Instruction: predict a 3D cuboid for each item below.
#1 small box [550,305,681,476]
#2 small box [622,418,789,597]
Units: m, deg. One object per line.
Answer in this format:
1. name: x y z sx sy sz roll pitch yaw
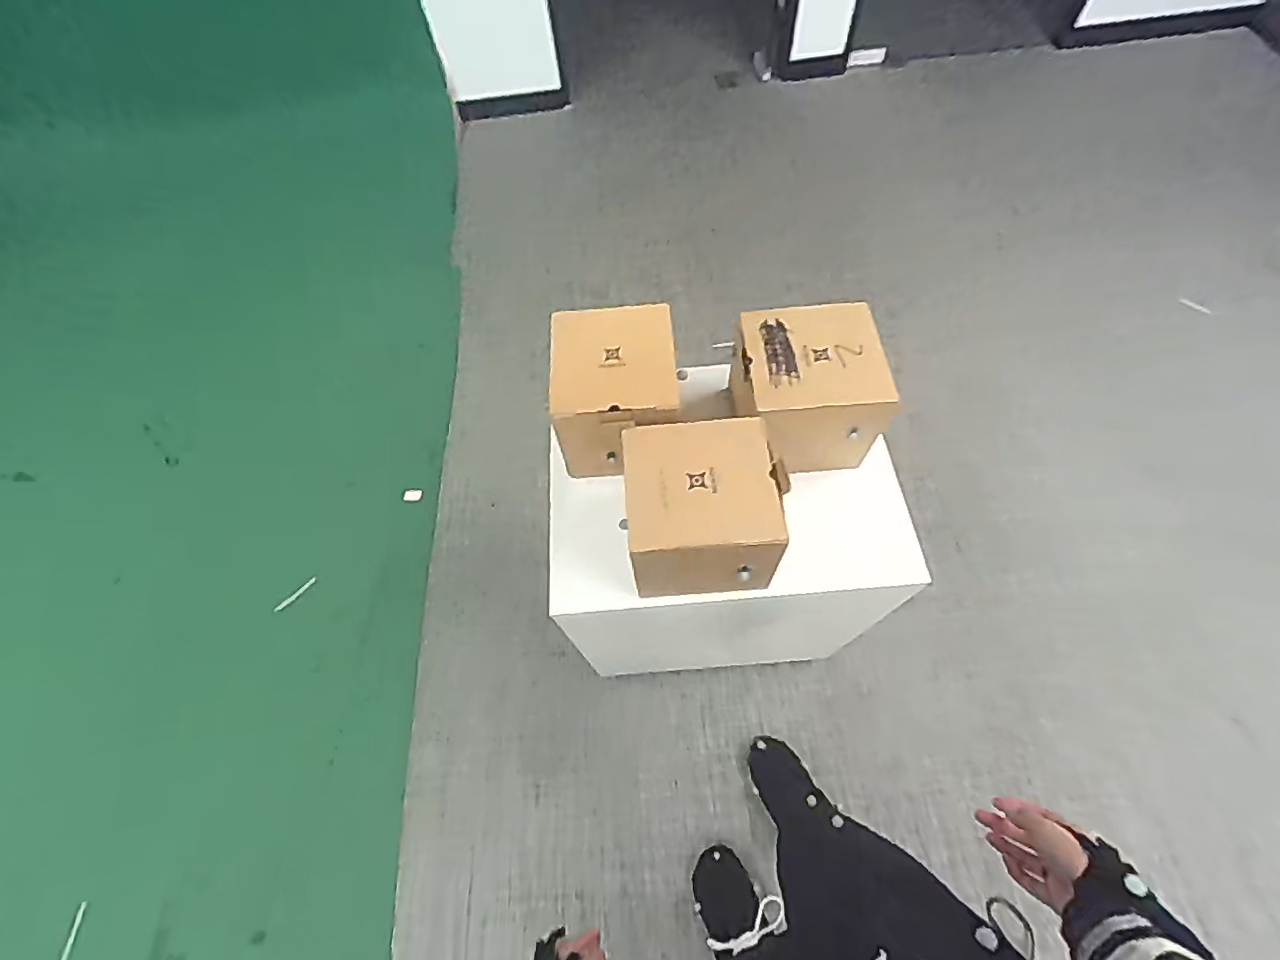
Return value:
1. small box: -0.033 -0.124 0.779 0.168 0.176 0.179 -4 63 0
2. small box: 0.073 0.041 0.685 0.179 0.176 0.168 -5 60 2
